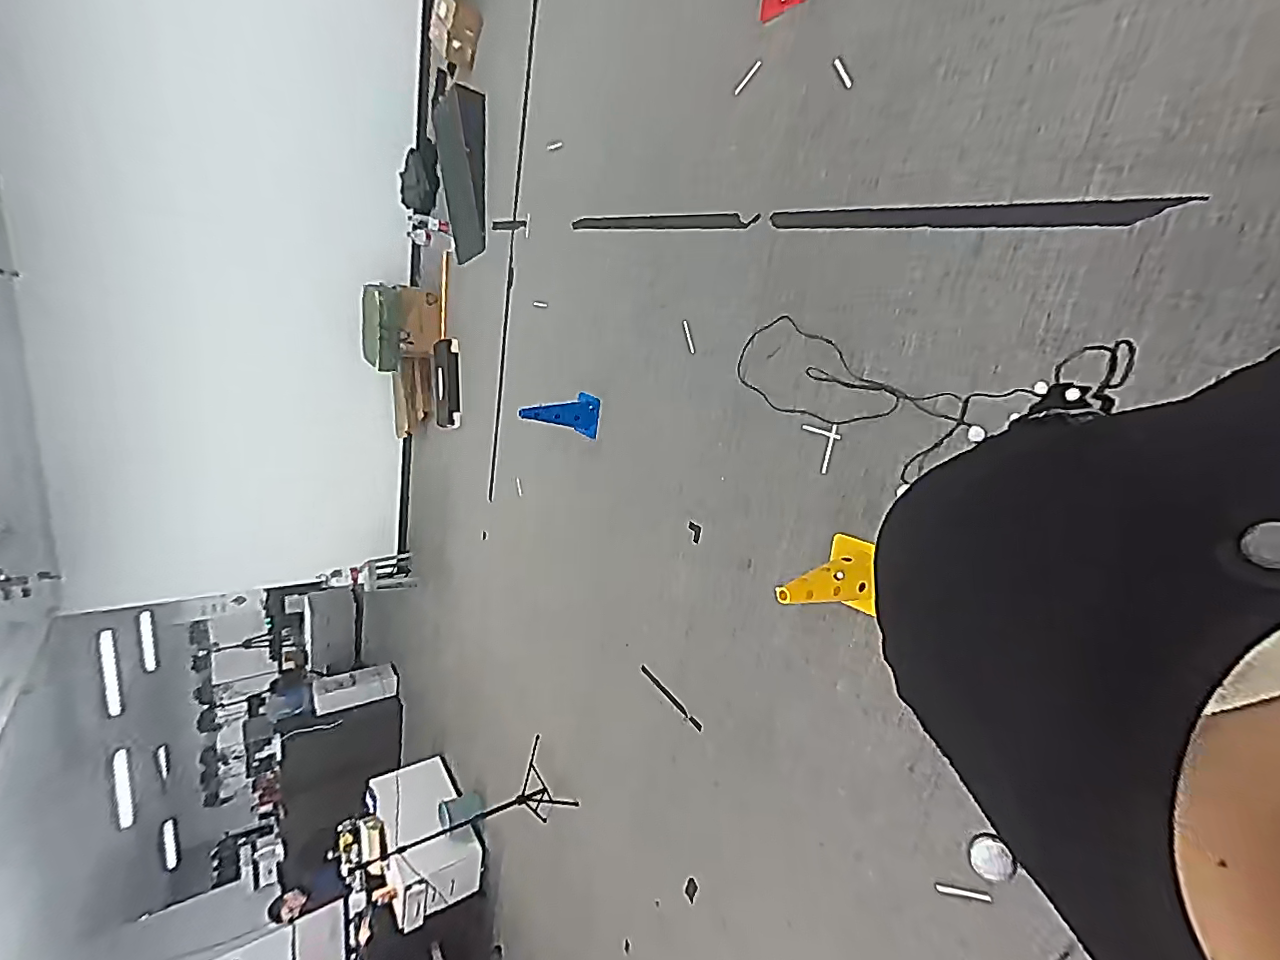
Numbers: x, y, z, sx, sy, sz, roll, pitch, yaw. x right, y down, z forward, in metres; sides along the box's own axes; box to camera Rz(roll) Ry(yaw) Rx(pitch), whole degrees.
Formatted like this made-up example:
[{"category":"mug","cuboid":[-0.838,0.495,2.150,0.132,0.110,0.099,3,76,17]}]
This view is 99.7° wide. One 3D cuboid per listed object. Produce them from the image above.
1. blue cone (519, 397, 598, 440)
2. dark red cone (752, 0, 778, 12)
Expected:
[{"category":"blue cone","cuboid":[-0.391,-0.295,2.560,0.193,0.380,0.192,31,117,48]},{"category":"dark red cone","cuboid":[0.295,-1.539,1.521,0.202,0.394,0.201,19,108,51]}]
